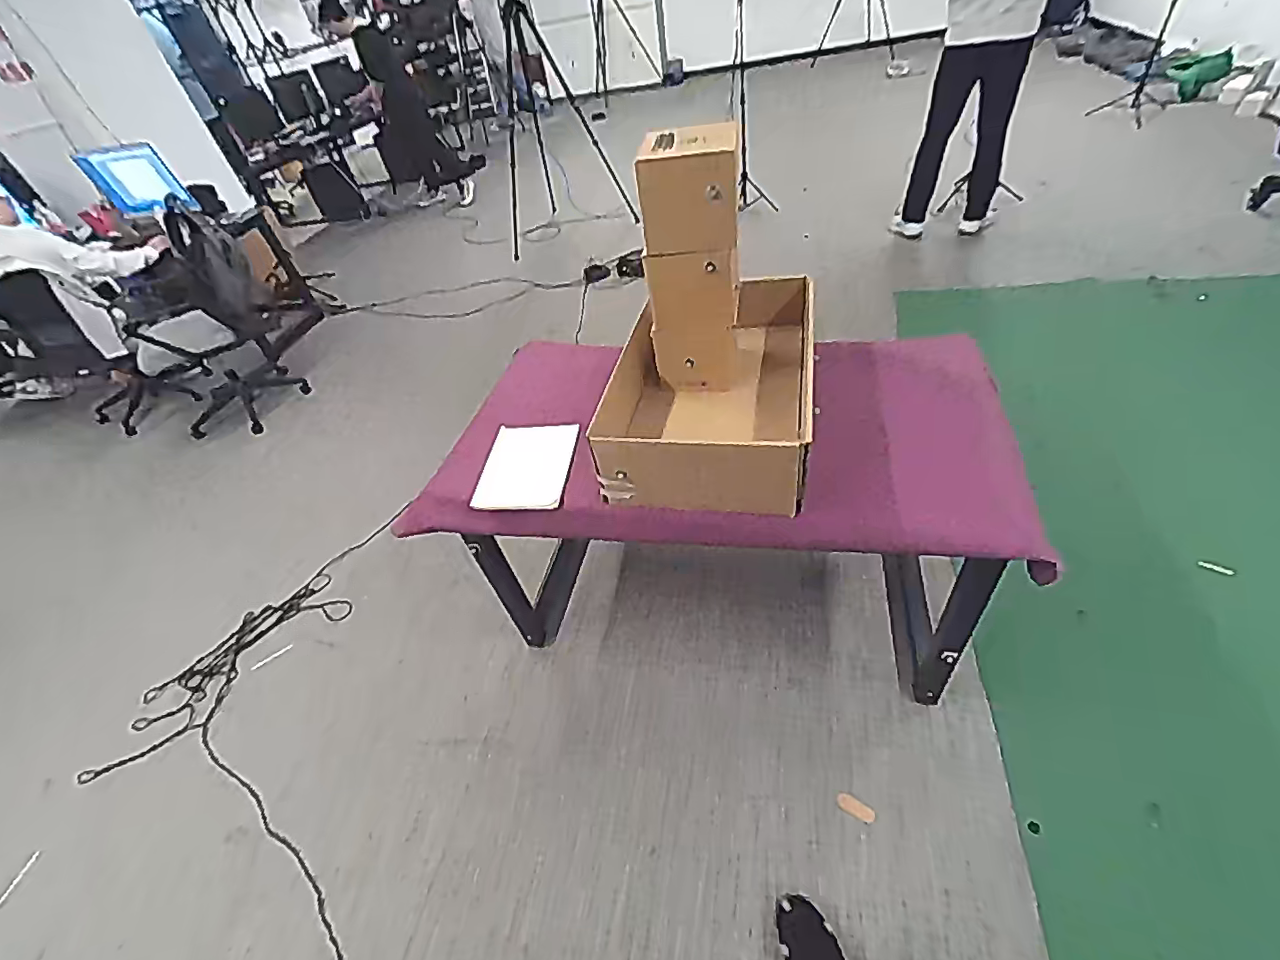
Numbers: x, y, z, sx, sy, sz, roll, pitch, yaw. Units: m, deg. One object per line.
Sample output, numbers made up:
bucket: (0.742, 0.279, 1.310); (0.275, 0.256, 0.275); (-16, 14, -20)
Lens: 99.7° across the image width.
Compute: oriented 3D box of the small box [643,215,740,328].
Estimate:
small box: (0.116, -0.435, 1.143); (0.179, 0.176, 0.168); (1, 47, 14)

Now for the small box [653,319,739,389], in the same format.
small box: (0.139, -0.326, 1.261); (0.168, 0.176, 0.179); (3, 48, 16)
